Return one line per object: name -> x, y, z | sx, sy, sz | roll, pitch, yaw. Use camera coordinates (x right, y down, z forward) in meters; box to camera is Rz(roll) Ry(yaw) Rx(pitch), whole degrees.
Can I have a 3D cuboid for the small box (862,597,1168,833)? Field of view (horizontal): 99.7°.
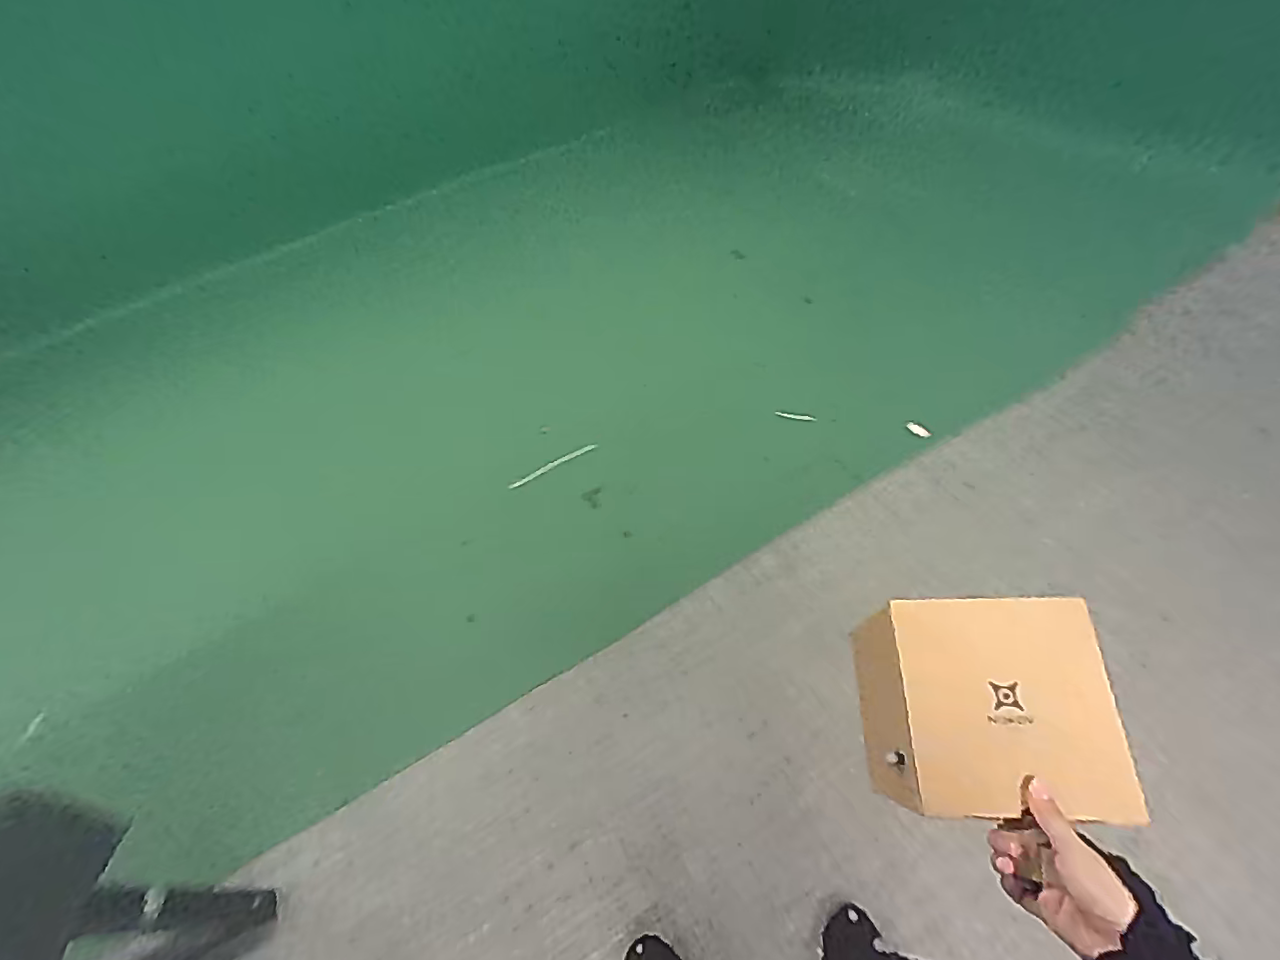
small box -> 0.324, 0.215, 0.516 | 0.168, 0.176, 0.179 | -2, 67, 8
